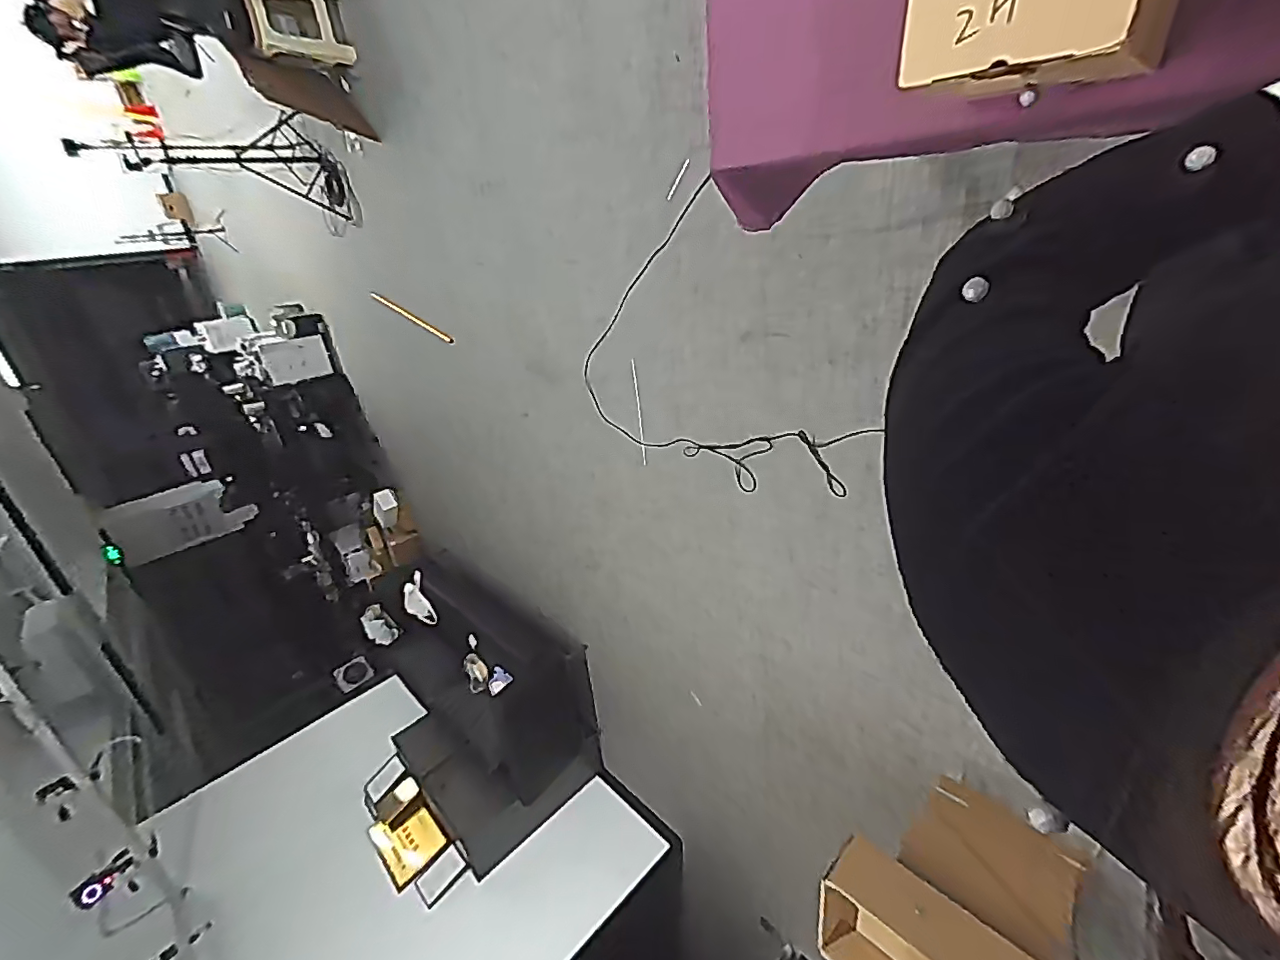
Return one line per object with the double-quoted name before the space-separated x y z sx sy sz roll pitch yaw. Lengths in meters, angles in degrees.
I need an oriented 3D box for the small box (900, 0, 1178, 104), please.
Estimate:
"small box" 0.354 -0.442 0.462 0.168 0.176 0.179 24 128 42
